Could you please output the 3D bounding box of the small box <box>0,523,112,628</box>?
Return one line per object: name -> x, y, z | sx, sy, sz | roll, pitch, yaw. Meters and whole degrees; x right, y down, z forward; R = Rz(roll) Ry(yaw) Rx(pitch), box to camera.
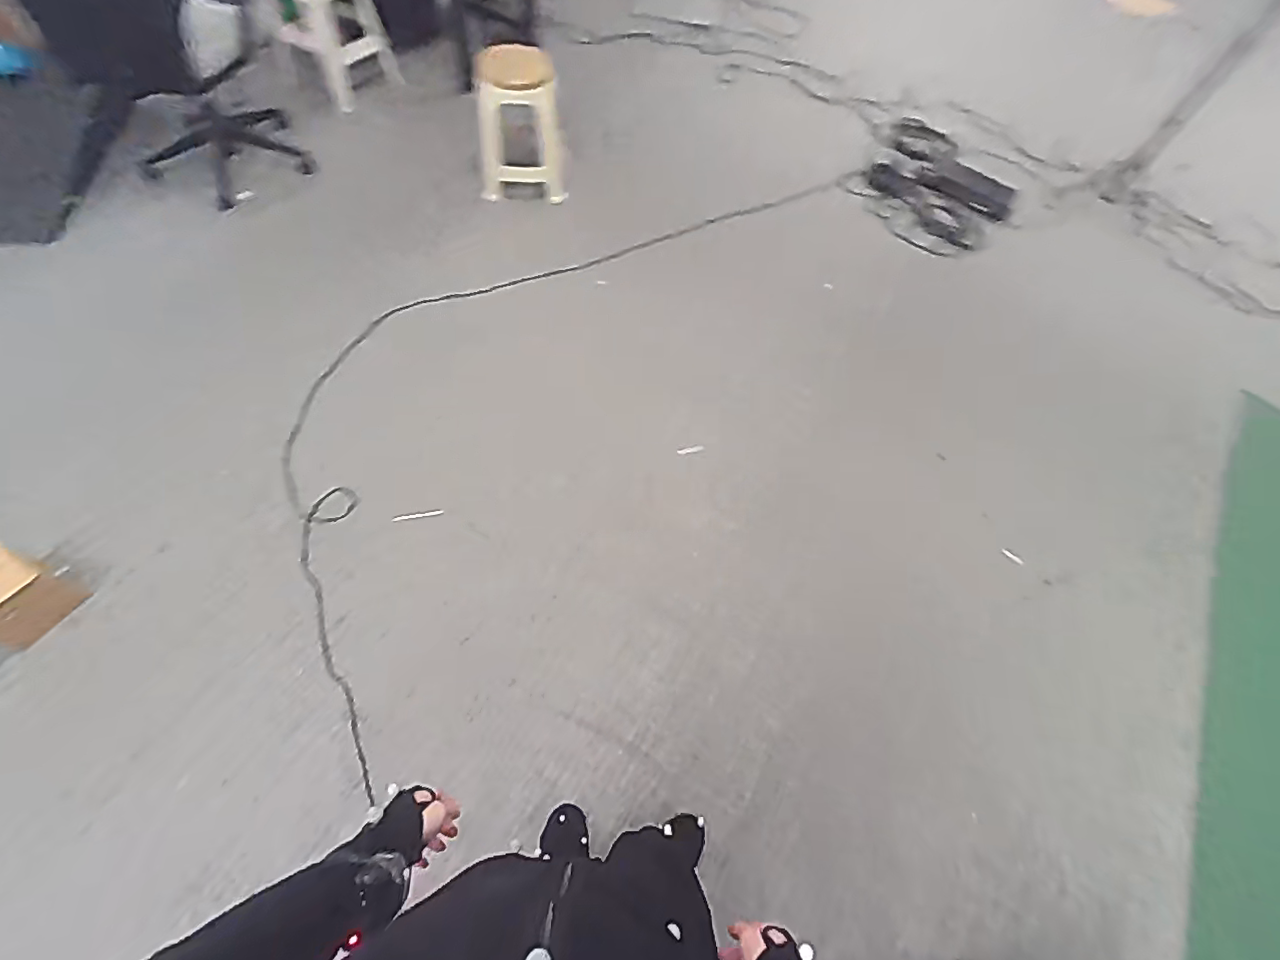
small box -> -1.520, 0.248, 1.364 | 0.168, 0.176, 0.179 | 37, 65, 12
